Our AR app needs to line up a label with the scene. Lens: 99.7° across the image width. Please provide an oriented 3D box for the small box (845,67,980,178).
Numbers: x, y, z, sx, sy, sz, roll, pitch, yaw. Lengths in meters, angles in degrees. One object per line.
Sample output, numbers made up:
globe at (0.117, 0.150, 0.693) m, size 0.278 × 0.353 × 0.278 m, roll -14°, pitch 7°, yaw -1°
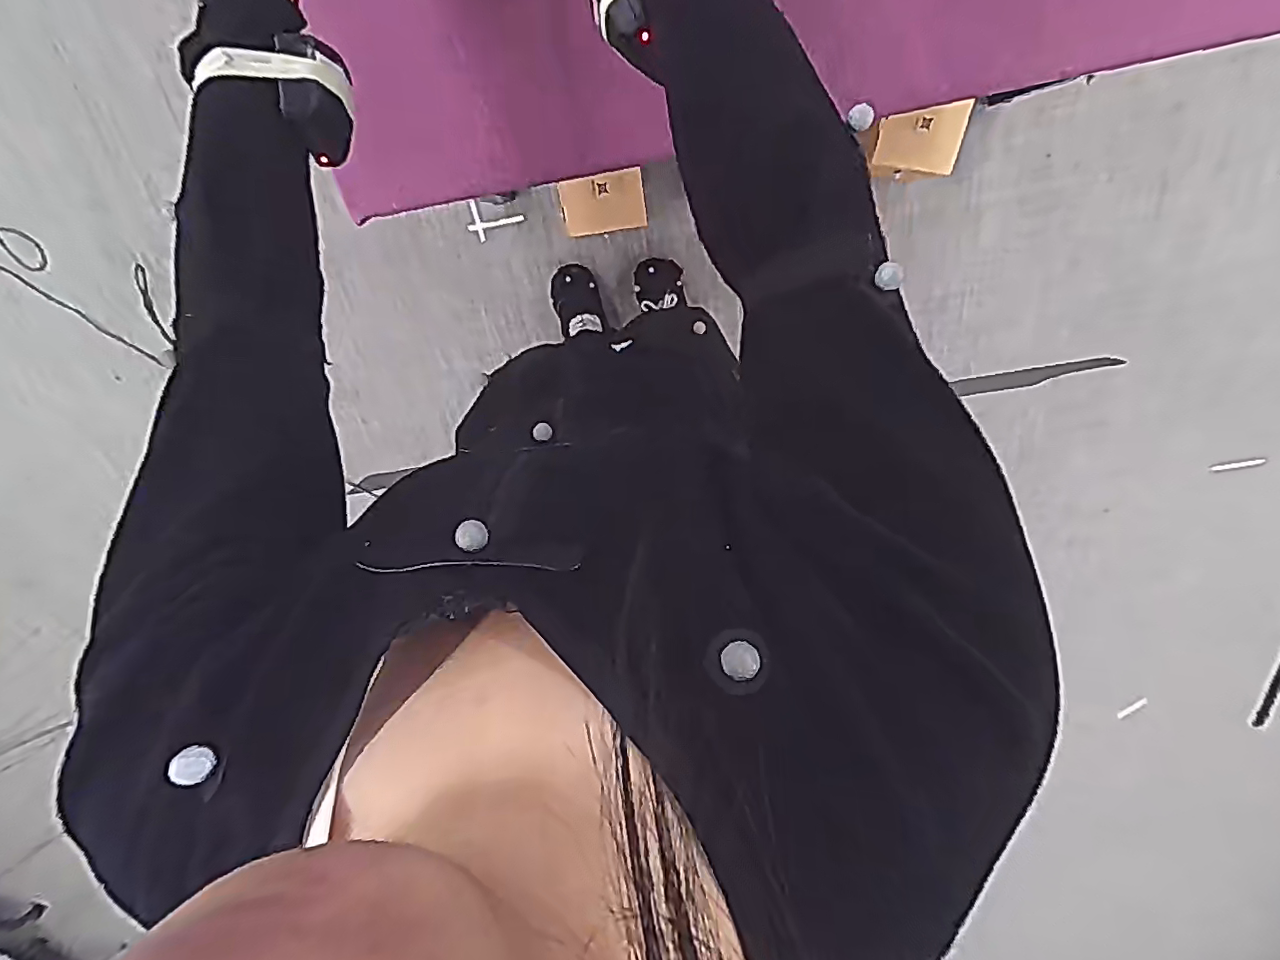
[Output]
small box at (0.569, -0.751, 1.154) m, size 0.179 × 0.176 × 0.168 m, roll 6°, pitch 116°, yaw -3°
